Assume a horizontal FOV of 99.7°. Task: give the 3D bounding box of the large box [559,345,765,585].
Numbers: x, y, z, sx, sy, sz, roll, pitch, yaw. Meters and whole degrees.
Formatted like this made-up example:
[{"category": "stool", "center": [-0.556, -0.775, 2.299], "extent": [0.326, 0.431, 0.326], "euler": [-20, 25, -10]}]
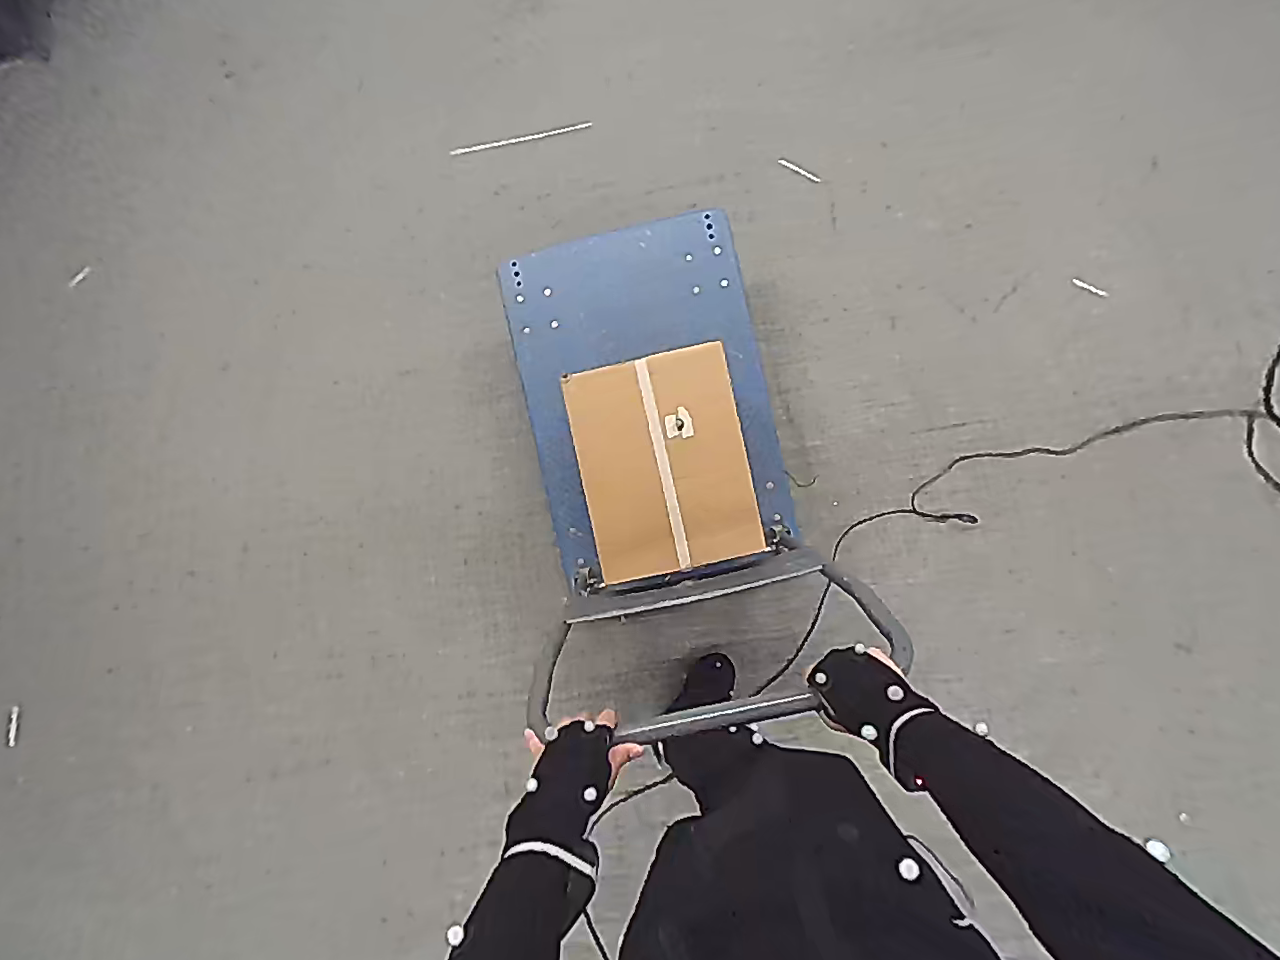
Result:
[{"category": "large box", "center": [0.049, -0.025, 1.164], "extent": [0.320, 0.320, 0.408], "euler": [-13, 89, 2]}]
